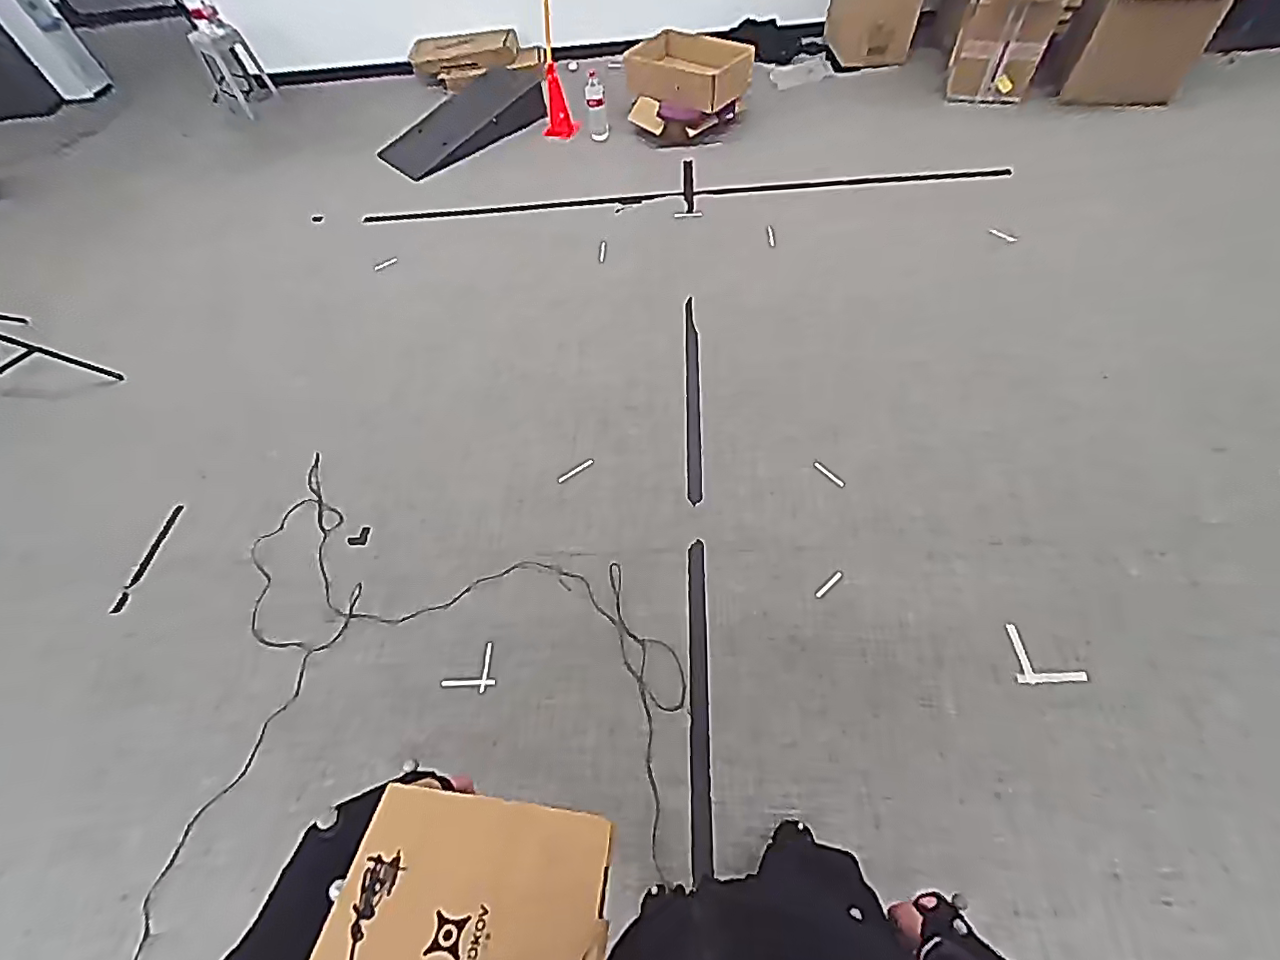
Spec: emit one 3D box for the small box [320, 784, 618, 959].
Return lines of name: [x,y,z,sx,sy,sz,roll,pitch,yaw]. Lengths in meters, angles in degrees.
small box: [-0.121,0.359,0.403,0.179,0.176,0.168,9,39,1]
